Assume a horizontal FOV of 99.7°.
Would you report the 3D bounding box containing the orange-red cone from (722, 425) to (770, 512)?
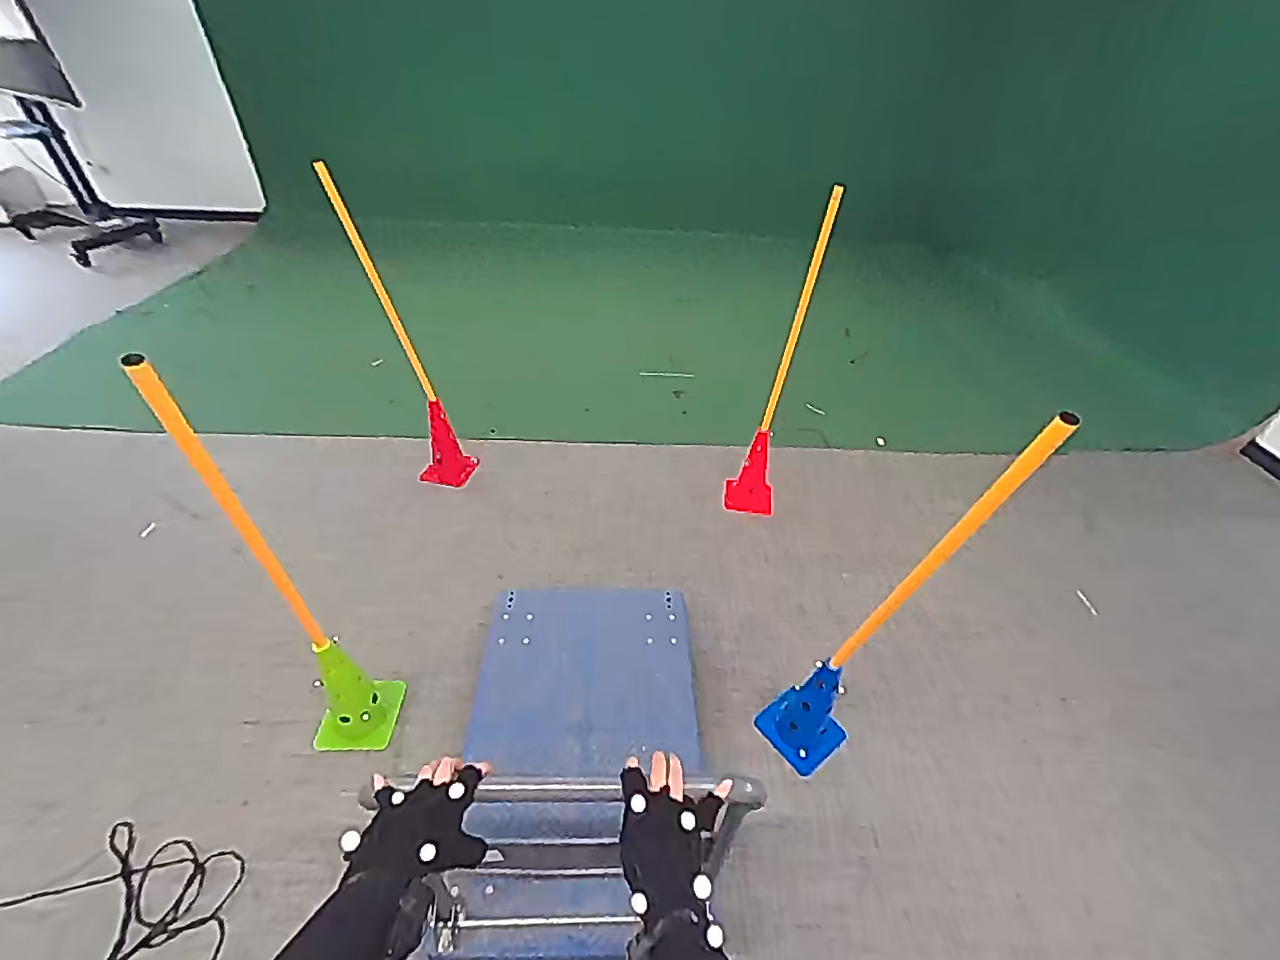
[{"bbox_3d":[0.460,-0.067,2.185,0.198,0.360,0.199,8,42,7],"label":"orange-red cone"}]
